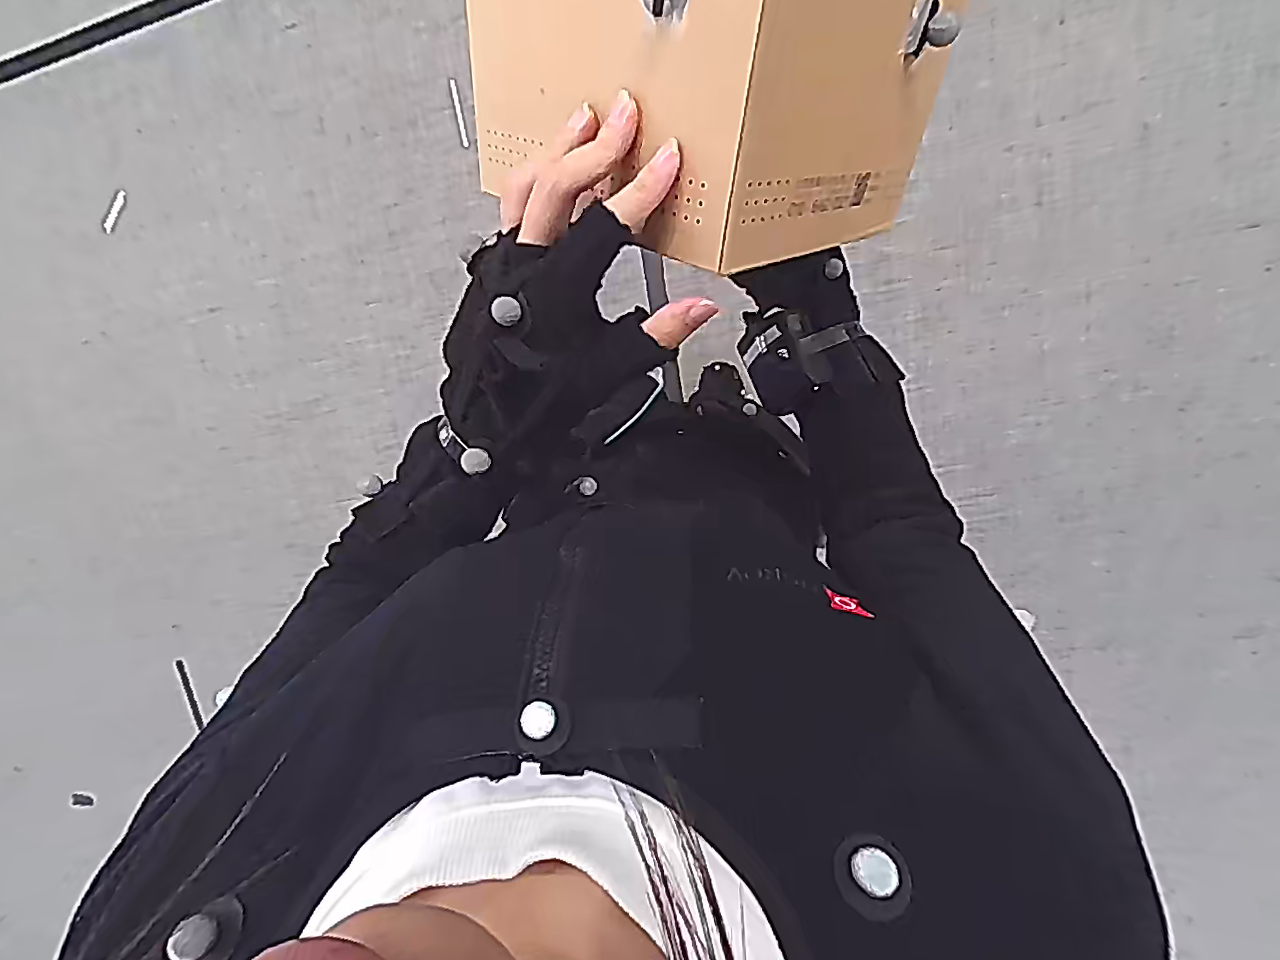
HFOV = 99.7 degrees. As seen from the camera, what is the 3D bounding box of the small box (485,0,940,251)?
[{"bbox_3d":[0.037,-0.225,0.277,0.179,0.168,0.176,34,135,32],"label":"small box"}]
